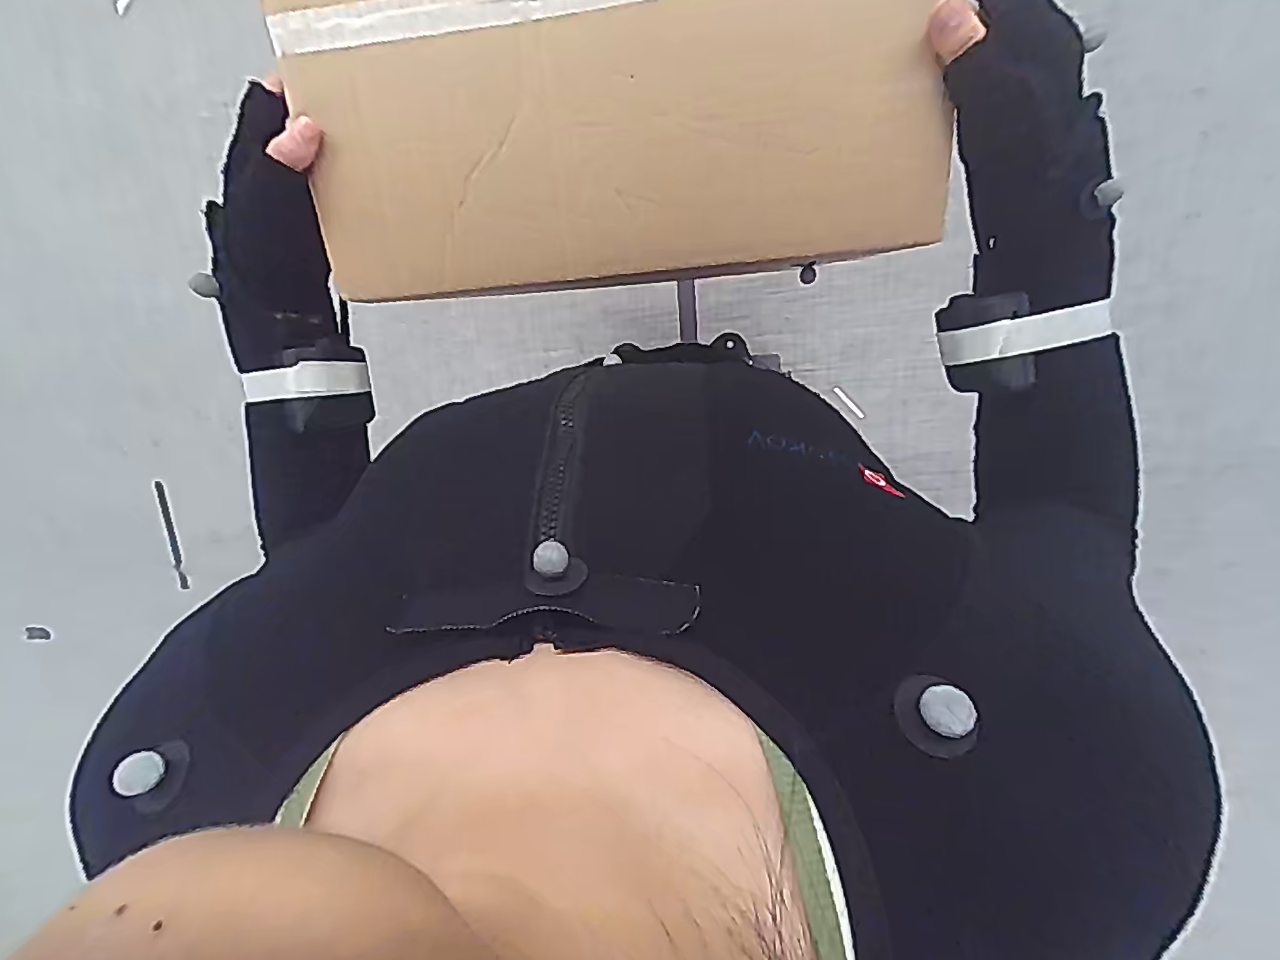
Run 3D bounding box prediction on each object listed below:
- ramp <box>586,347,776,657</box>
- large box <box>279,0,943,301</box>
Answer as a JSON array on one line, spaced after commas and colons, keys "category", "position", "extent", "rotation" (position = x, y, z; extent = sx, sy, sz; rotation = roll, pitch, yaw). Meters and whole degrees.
[{"category": "ramp", "position": [0.152, 0.126, 1.610], "extent": [0.509, 0.206, 0.991], "rotation": [-6, 103, 6]}, {"category": "large box", "position": [-0.012, -0.338, 0.461], "extent": [0.408, 0.320, 0.320], "rotation": [-4, 109, 5]}]
